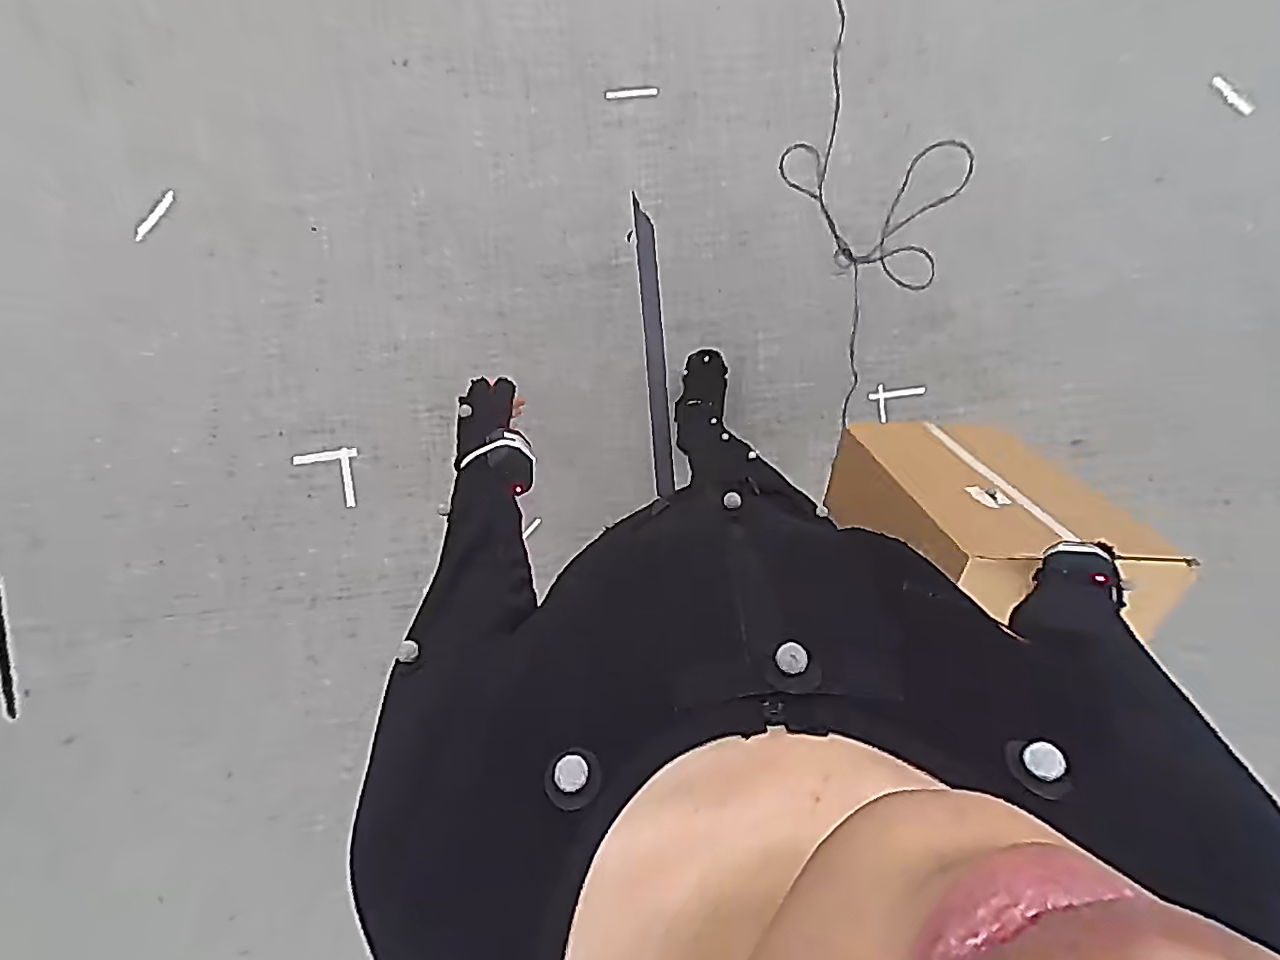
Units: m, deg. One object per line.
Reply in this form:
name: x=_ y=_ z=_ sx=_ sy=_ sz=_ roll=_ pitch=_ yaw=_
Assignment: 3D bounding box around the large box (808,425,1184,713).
large box: x=0.534 y=0.132 z=0.932 sx=0.320 sy=0.408 sz=0.320 roll=2 pitch=120 yaw=-5
